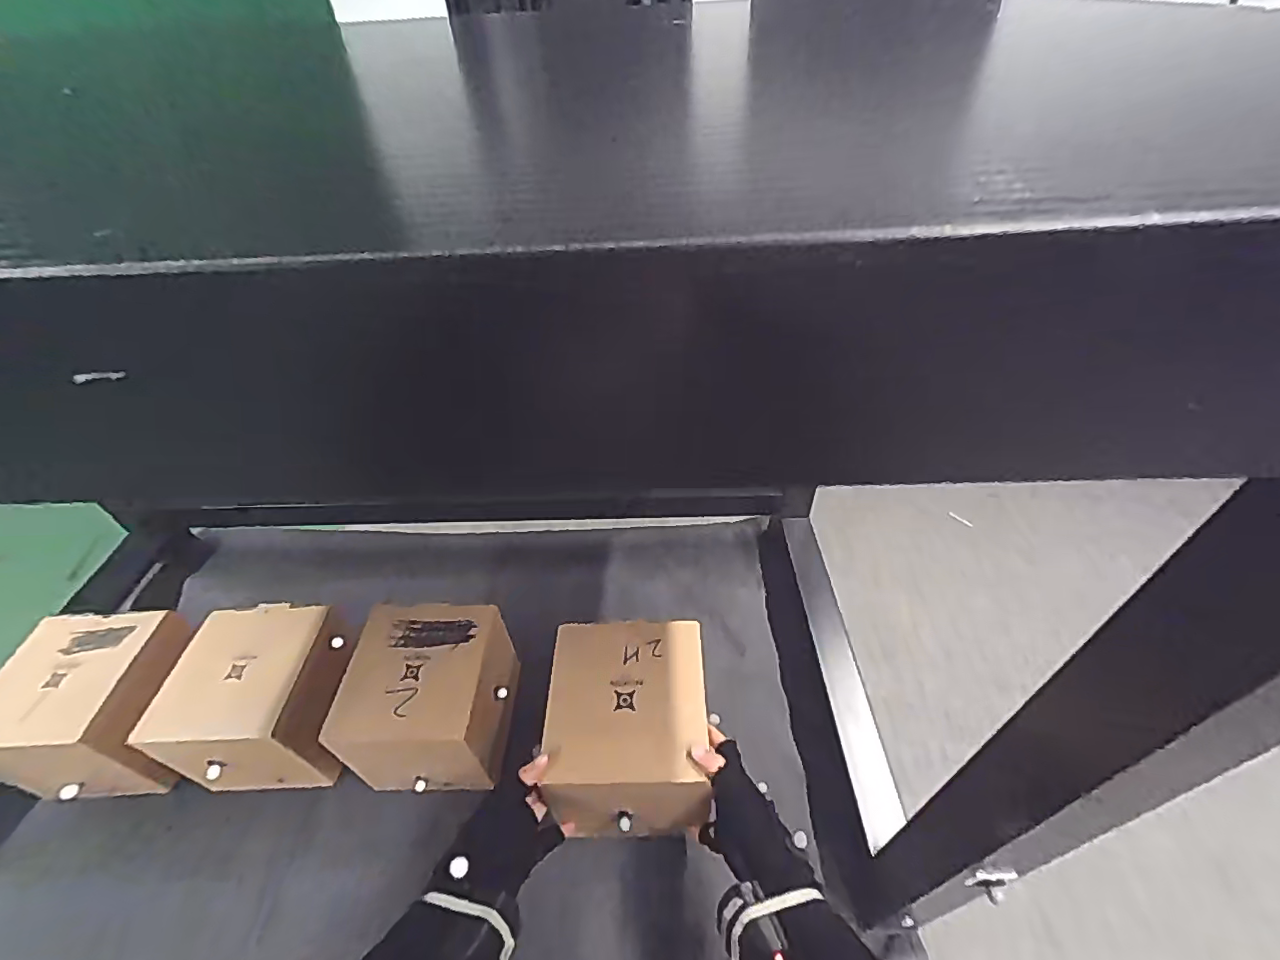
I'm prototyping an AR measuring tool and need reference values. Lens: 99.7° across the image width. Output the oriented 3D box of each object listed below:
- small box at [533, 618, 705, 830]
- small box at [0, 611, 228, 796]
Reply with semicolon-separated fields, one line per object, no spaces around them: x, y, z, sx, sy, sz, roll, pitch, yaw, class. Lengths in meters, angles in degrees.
-0.013;0.280;0.617;0.168;0.176;0.179;-2;41;3;small box
-0.704;0.297;0.723;0.168;0.176;0.179;-3;43;1;small box
